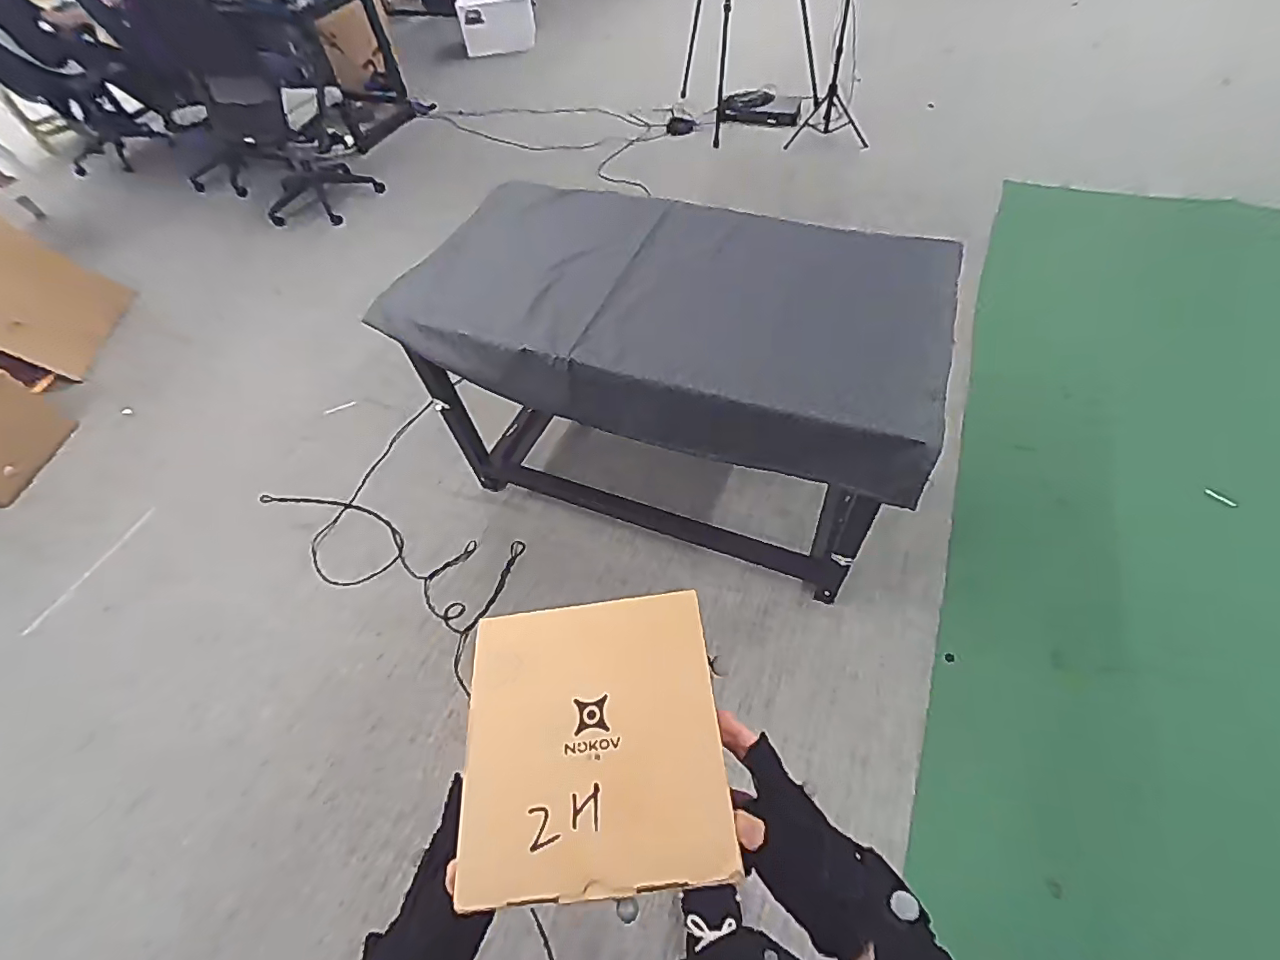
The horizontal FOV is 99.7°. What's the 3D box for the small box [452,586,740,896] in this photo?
[{"bbox_3d":[-0.022,0.203,0.414,0.168,0.176,0.179,-8,53,3],"label":"small box"}]
